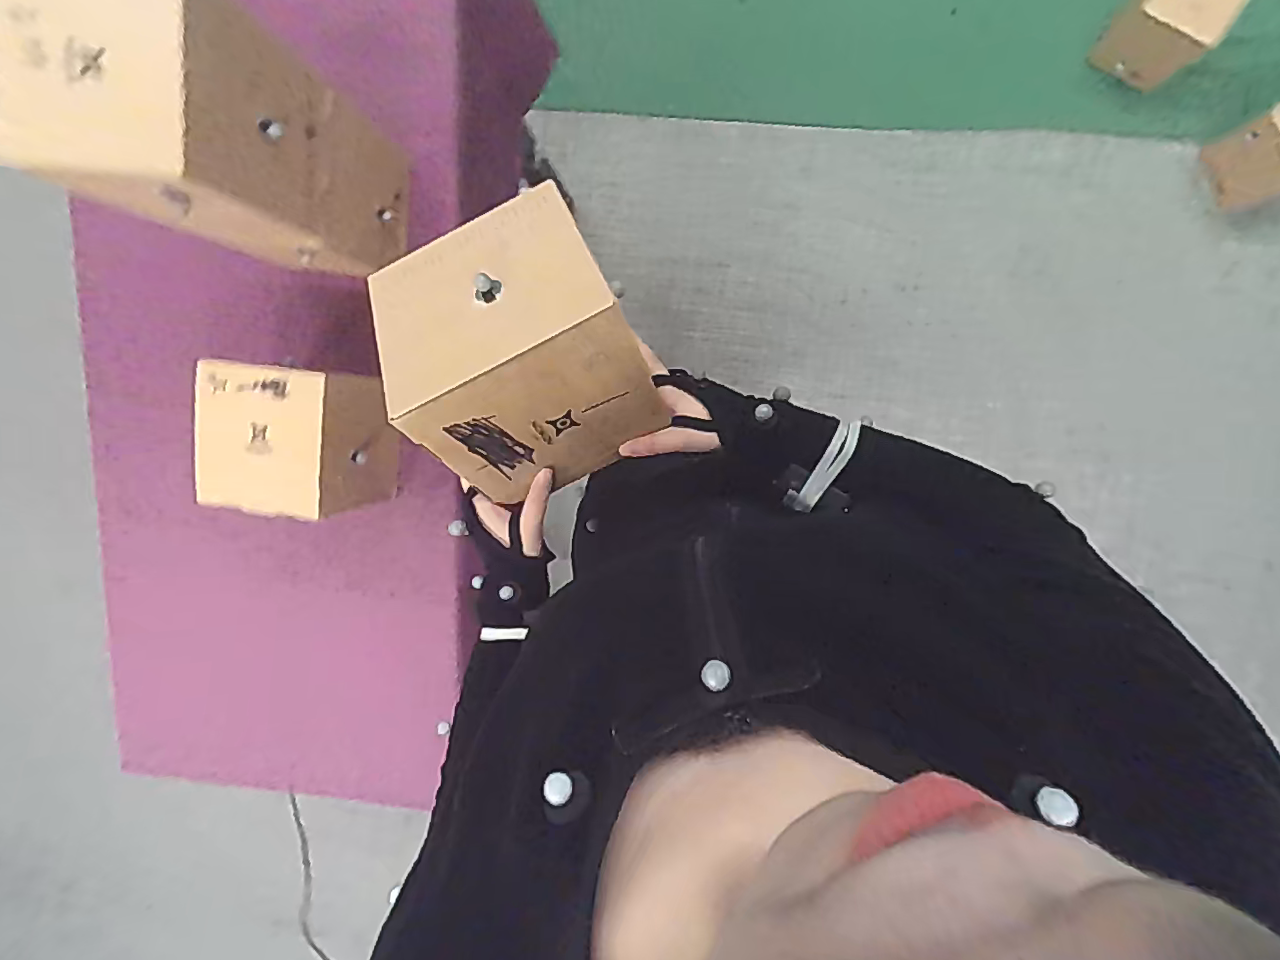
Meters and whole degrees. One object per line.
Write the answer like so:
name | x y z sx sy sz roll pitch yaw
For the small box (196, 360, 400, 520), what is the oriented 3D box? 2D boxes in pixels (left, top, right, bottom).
small box | -0.443 -0.058 0.722 0.168 0.176 0.179 7 98 5

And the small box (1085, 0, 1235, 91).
small box | 1.129 -1.005 1.169 0.168 0.176 0.179 30 99 2

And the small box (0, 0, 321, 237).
small box | -0.440 -0.347 0.520 0.179 0.176 0.168 7 97 5

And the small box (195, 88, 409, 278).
small box | -0.423 -0.366 0.683 0.179 0.176 0.168 8 98 5

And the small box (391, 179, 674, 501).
small box | -0.093 -0.116 0.469 0.179 0.168 0.176 -26 59 3
